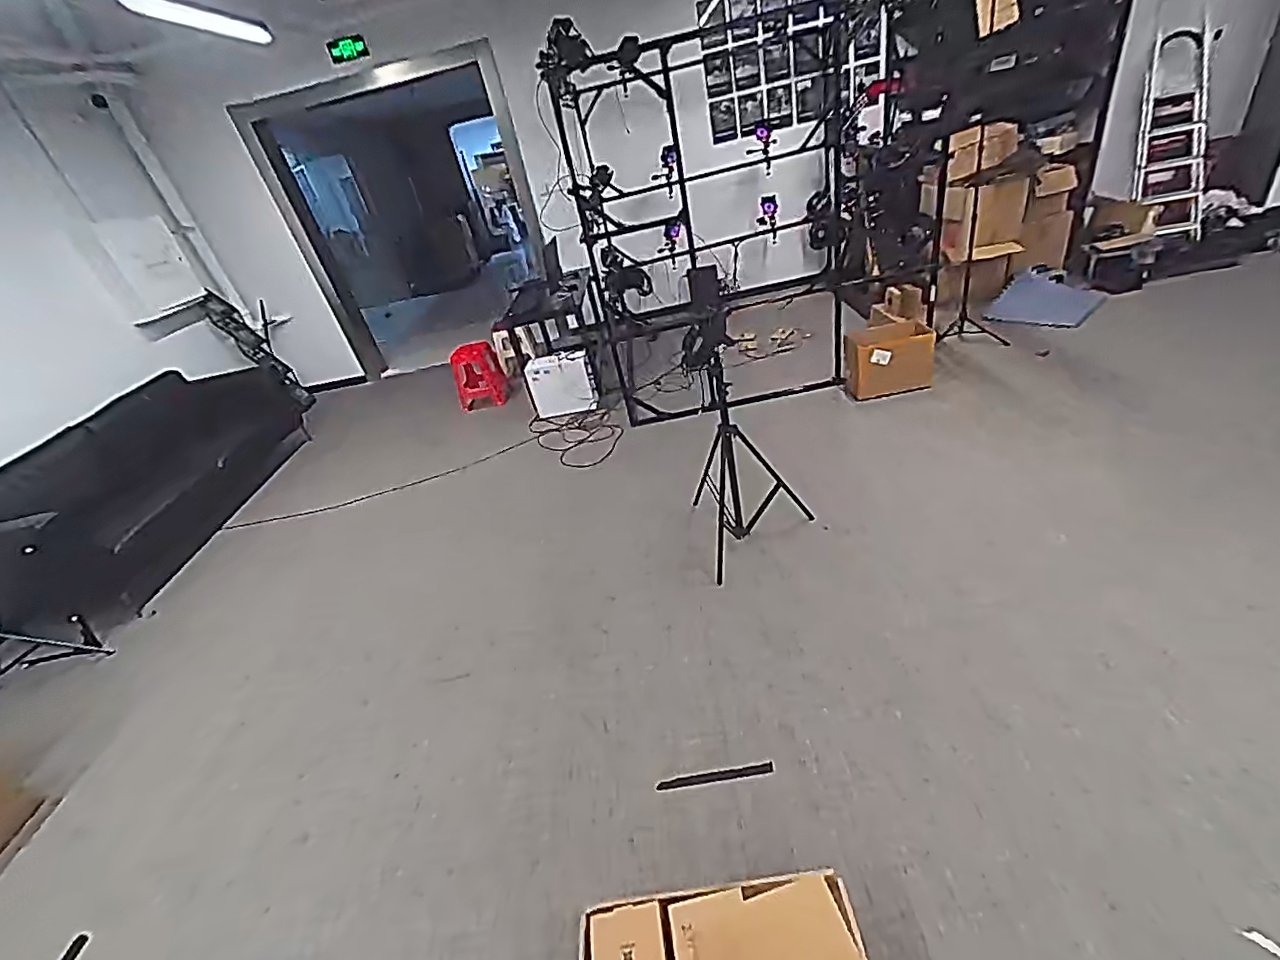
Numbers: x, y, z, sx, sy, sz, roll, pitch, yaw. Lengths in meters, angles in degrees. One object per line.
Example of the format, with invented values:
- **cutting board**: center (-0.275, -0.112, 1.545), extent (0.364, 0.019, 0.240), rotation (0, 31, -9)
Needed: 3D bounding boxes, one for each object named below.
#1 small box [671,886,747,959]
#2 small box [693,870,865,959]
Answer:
- **small box**: center (0.178, 1.054, 1.211), extent (0.179, 0.176, 0.168), rotation (-14, 33, -1)
- **small box**: center (0.164, 0.582, 0.596), extent (0.168, 0.176, 0.179), rotation (-15, 38, -9)
